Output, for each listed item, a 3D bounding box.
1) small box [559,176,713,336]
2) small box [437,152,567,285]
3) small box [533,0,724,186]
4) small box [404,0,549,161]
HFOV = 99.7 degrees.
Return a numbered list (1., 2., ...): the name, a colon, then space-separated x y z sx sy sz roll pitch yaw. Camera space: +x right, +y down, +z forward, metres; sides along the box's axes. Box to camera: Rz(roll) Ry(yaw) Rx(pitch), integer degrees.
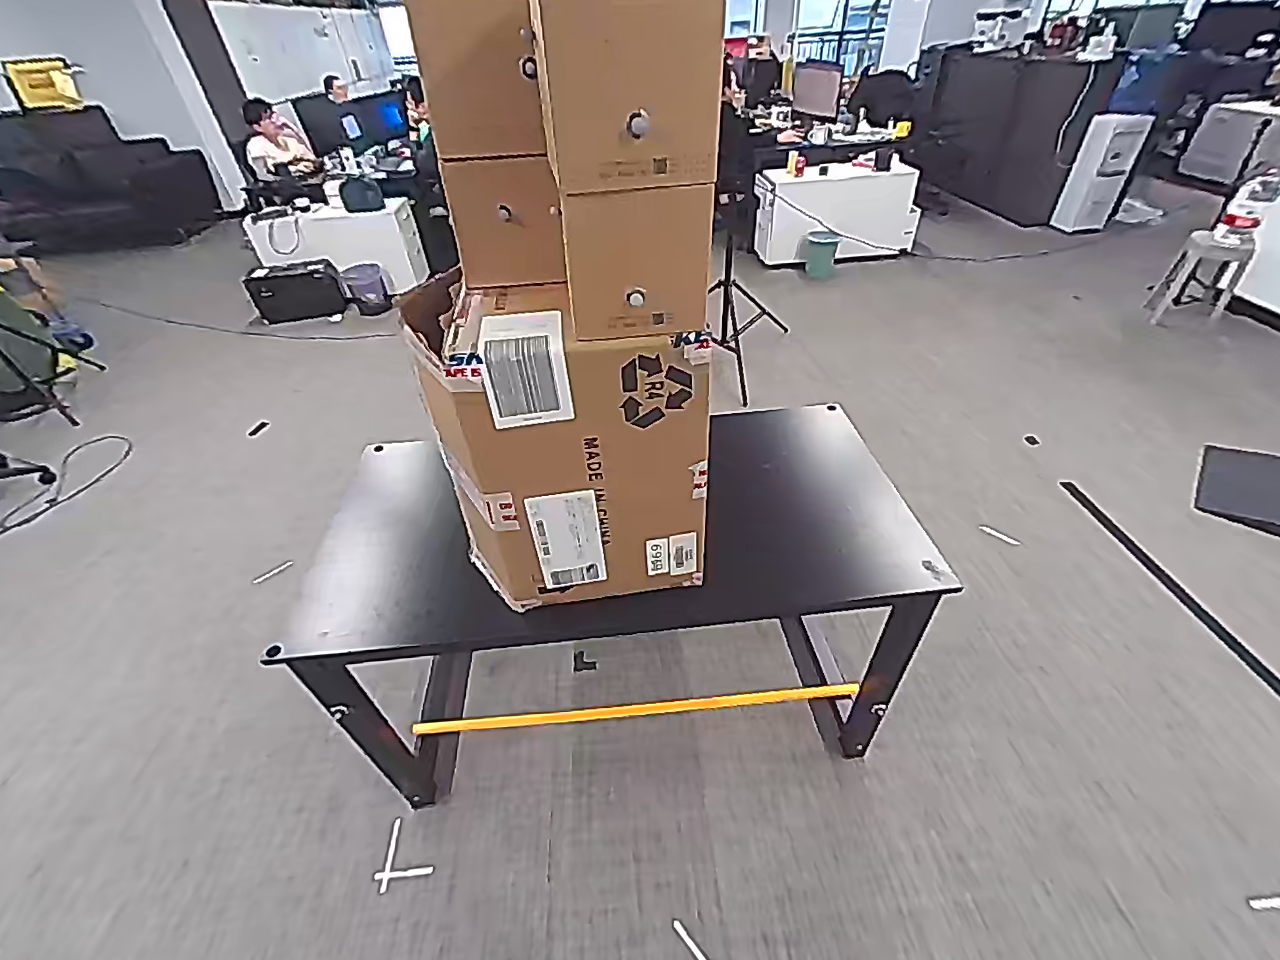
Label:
1. small box: -0.012 -0.297 0.678 0.168 0.176 0.179 -7 42 -5
2. small box: -0.183 -0.403 0.812 0.179 0.176 0.168 -7 39 -5
3. small box: -0.020 -0.420 0.568 0.168 0.176 0.179 -9 42 -7
4. small box: -0.187 -0.528 0.707 0.179 0.176 0.168 -9 38 -8
